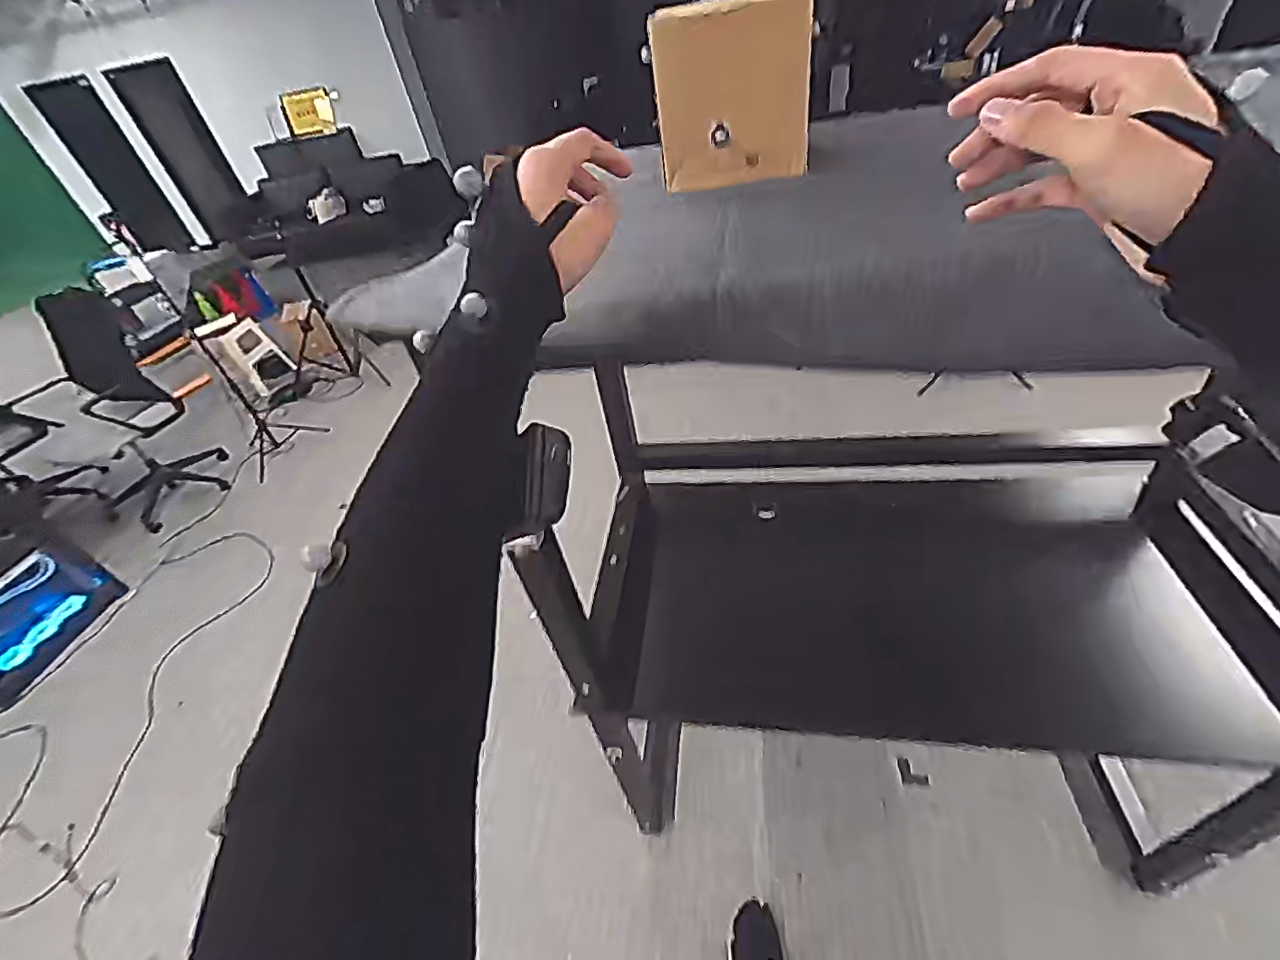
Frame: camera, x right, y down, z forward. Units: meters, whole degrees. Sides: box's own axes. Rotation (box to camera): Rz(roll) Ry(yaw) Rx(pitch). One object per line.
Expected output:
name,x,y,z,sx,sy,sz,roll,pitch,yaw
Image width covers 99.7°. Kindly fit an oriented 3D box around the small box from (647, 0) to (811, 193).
small box,0.107,-0.464,0.652,0.168,0.176,0.179,-2,42,11
